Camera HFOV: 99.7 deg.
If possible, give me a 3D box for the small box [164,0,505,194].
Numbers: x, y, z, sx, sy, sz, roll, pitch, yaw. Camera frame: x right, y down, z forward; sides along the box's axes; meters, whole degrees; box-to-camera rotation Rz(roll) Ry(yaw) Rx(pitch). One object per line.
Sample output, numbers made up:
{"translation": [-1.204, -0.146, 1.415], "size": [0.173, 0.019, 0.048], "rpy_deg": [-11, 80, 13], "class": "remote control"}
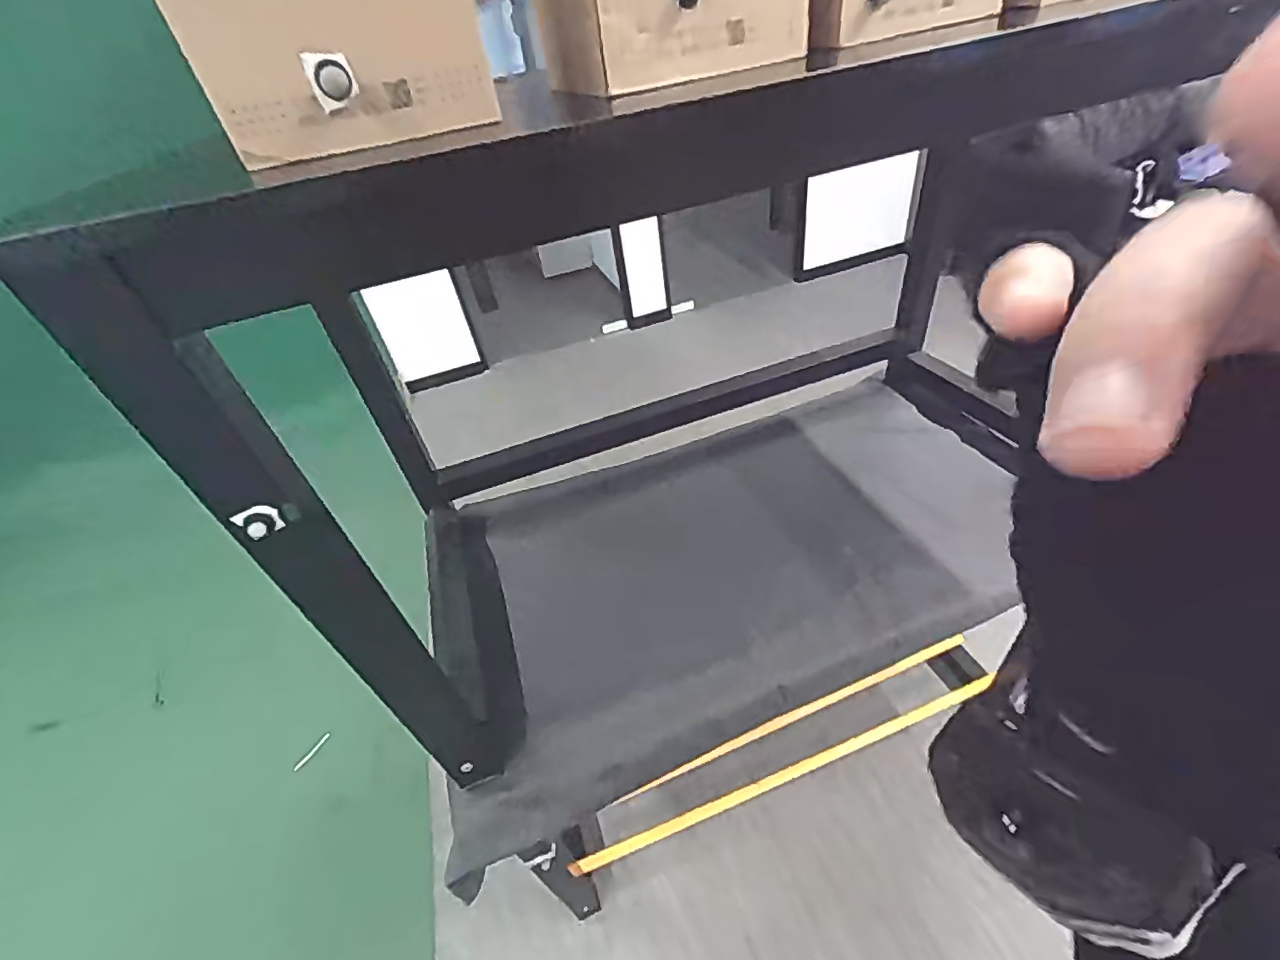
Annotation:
{"translation": [-0.208, -0.314, 0.372], "size": [0.168, 0.176, 0.179], "rpy_deg": [-21, 42, -11], "class": "small box"}
